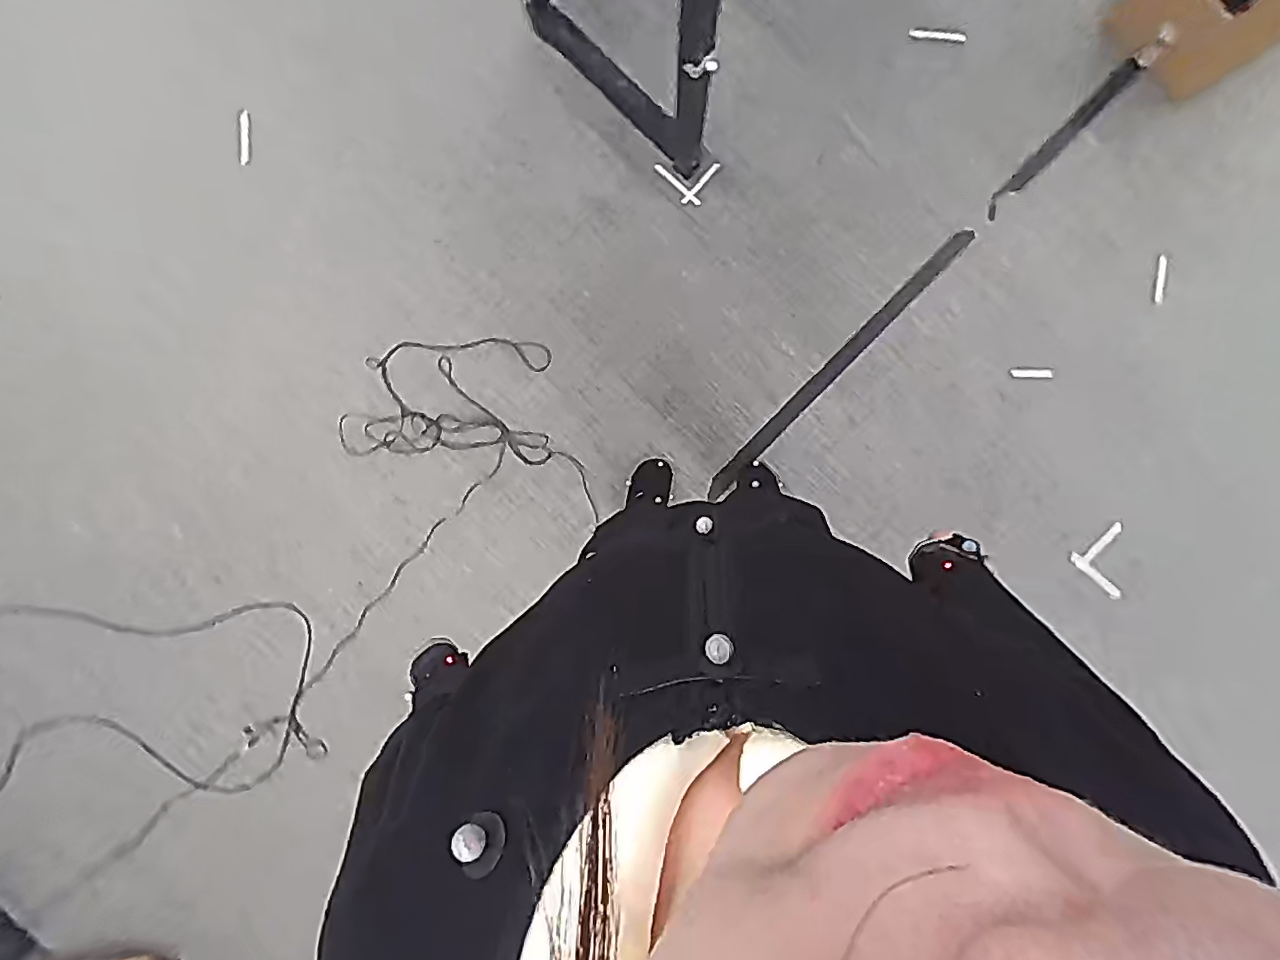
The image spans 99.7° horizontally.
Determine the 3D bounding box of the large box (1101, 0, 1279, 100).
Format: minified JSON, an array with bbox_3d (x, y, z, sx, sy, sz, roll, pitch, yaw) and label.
[{"bbox_3d":[1.392,-1.191,1.205,0.320,0.320,0.408,45,94,-2],"label":"large box"}]
